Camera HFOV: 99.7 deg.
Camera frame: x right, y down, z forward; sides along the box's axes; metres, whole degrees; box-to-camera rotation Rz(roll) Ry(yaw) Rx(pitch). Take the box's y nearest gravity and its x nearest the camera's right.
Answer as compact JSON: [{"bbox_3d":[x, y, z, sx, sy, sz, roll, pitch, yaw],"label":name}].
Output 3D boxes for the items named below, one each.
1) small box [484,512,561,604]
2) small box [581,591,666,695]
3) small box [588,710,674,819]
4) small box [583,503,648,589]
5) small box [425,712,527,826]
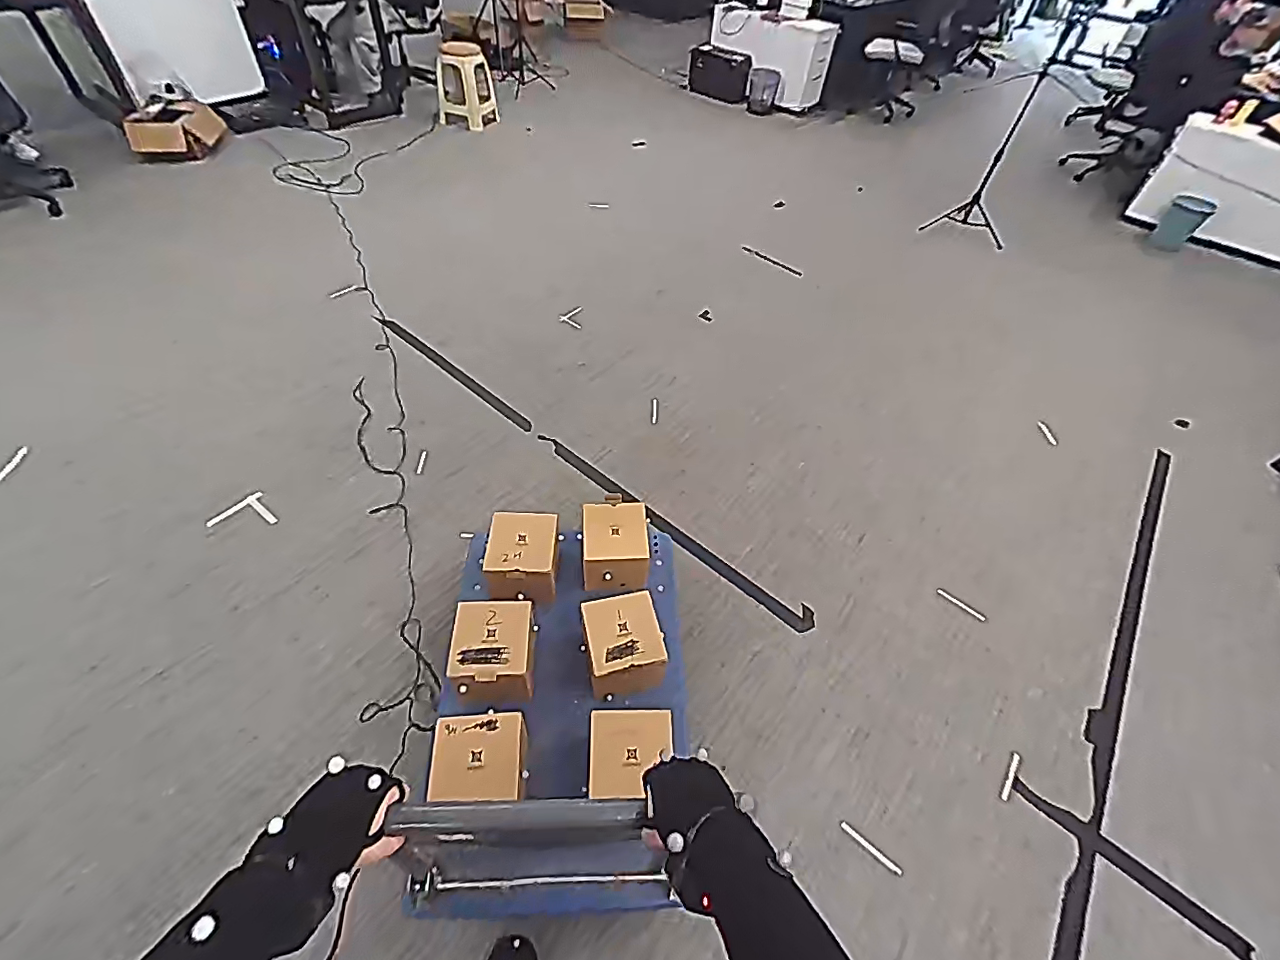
[{"bbox_3d":[-0.298,0.204,1.412,0.168,0.176,0.179,3,51,-3],"label":"small box"},{"bbox_3d":[-0.043,0.392,1.281,0.168,0.176,0.179,-8,51,-12],"label":"small box"},{"bbox_3d":[-0.022,0.592,1.119,0.168,0.176,0.179,2,50,-4],"label":"small box"},{"bbox_3d":[-0.068,0.183,1.454,0.168,0.176,0.179,-1,50,-6],"label":"small box"},{"bbox_3d":[-0.319,0.586,1.091,0.168,0.176,0.179,0,51,-8],"label":"small box"}]
